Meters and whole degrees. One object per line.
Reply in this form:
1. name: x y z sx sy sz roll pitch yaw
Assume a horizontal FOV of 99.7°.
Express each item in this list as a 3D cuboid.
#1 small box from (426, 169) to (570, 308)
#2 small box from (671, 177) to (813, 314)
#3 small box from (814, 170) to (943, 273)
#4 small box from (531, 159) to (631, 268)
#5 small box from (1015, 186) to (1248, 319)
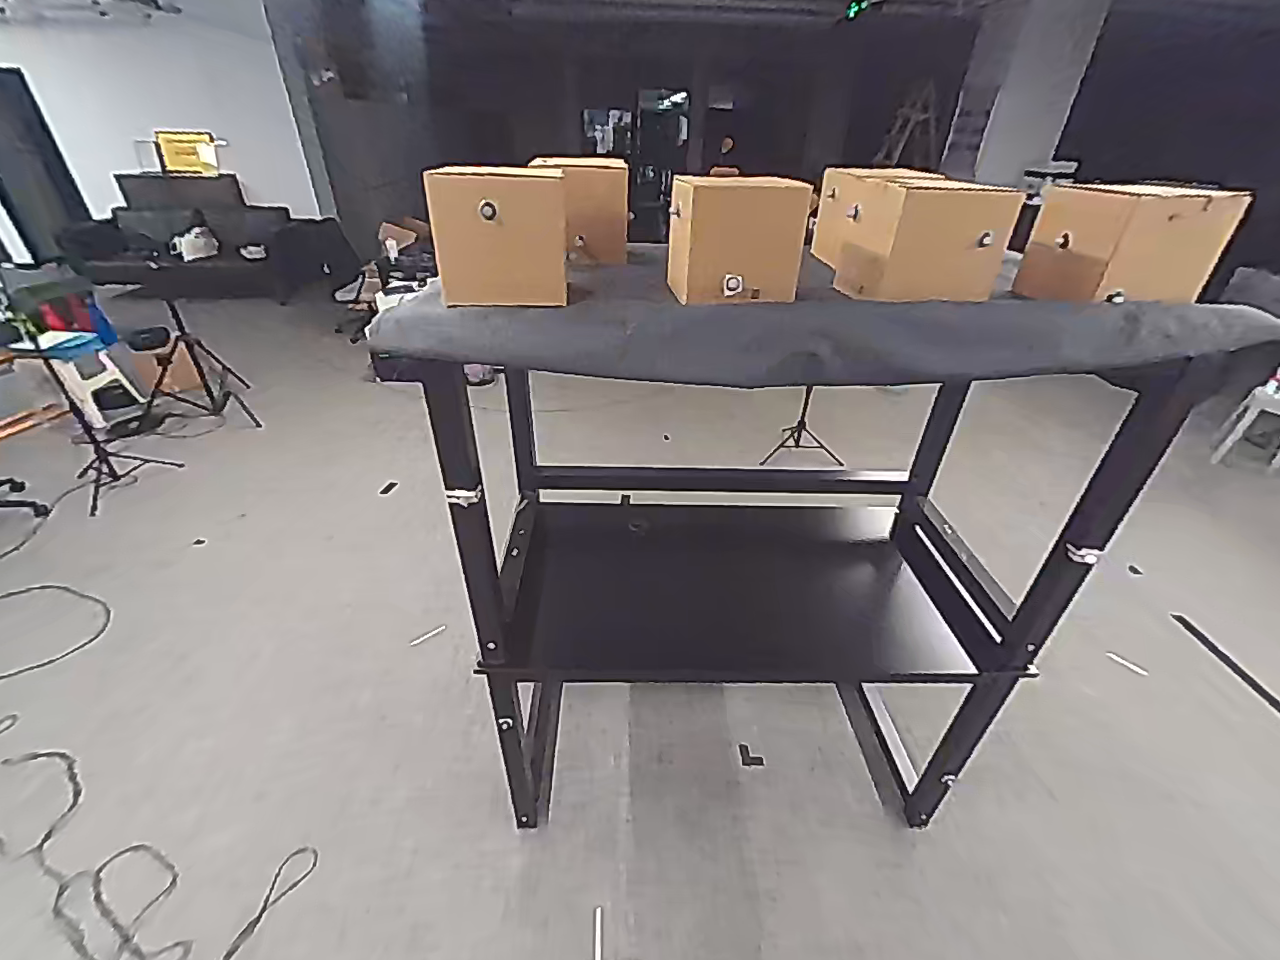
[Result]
1. small box: -0.196 -0.358 0.799 0.179 0.176 0.168 -1 32 -6
2. small box: 0.141 -0.359 0.823 0.168 0.176 0.179 -2 32 -5
3. small box: 0.465 -0.518 1.083 0.168 0.176 0.179 0 33 -2
4. small box: -0.112 -0.518 1.053 0.179 0.176 0.168 0 33 -4
5. small box: 0.738 -0.354 0.839 0.168 0.176 0.179 -1 32 -4
